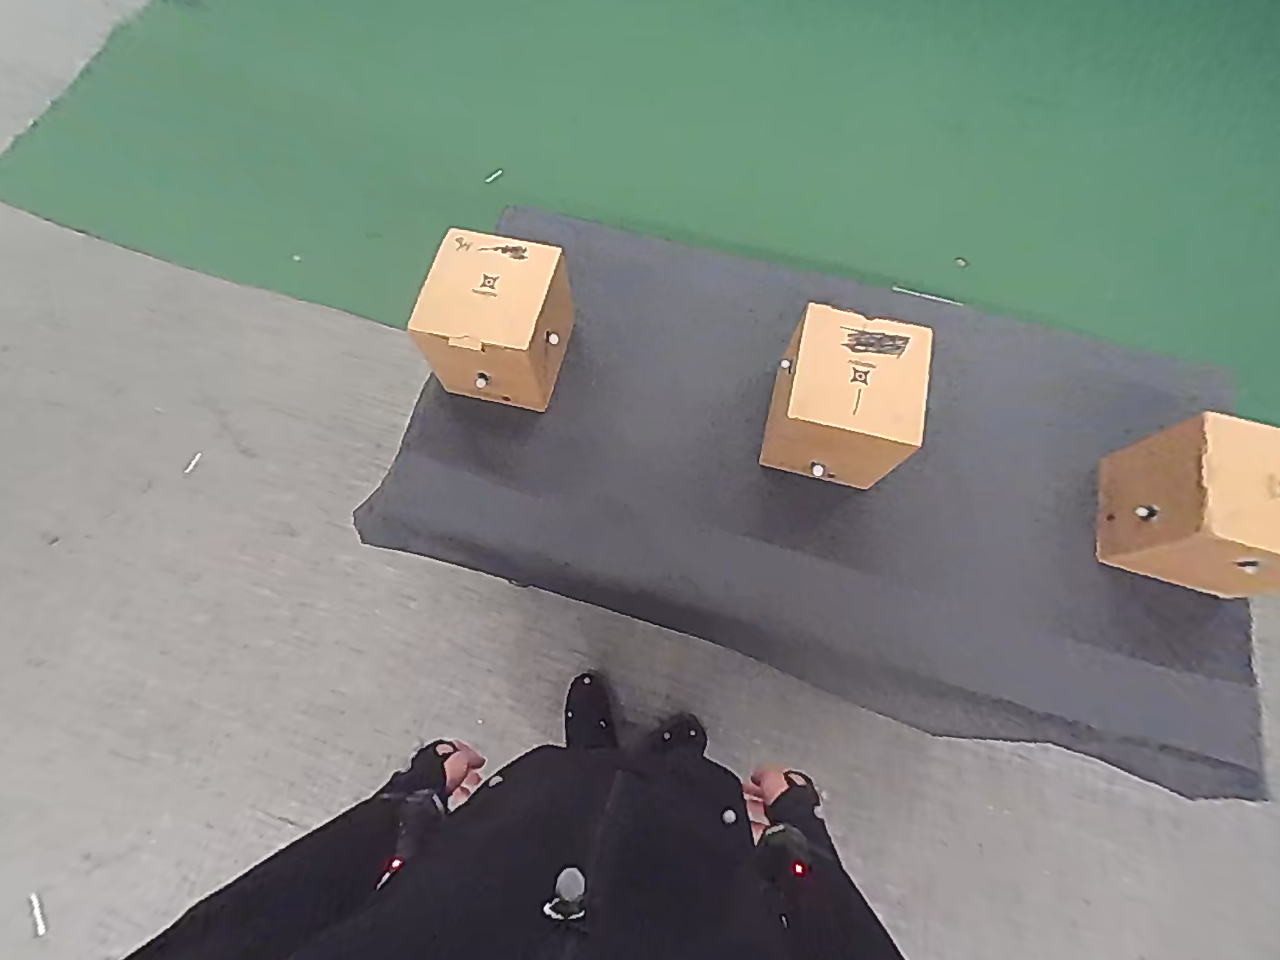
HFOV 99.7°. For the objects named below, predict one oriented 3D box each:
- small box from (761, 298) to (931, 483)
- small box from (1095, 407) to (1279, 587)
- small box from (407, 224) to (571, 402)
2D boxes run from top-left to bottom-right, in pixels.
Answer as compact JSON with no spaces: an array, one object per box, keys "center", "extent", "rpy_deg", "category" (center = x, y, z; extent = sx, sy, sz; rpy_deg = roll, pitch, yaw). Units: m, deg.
[{"center":[0.277,-0.117,0.756],"extent":[0.168,0.176,0.179],"rpy_deg":[14,73,5],"category":"small box"},{"center":[0.744,0.032,0.704],"extent":[0.179,0.176,0.168],"rpy_deg":[17,73,5],"category":"small box"},{"center":[-0.207,-0.237,0.798],"extent":[0.168,0.176,0.179],"rpy_deg":[12,72,4],"category":"small box"}]
